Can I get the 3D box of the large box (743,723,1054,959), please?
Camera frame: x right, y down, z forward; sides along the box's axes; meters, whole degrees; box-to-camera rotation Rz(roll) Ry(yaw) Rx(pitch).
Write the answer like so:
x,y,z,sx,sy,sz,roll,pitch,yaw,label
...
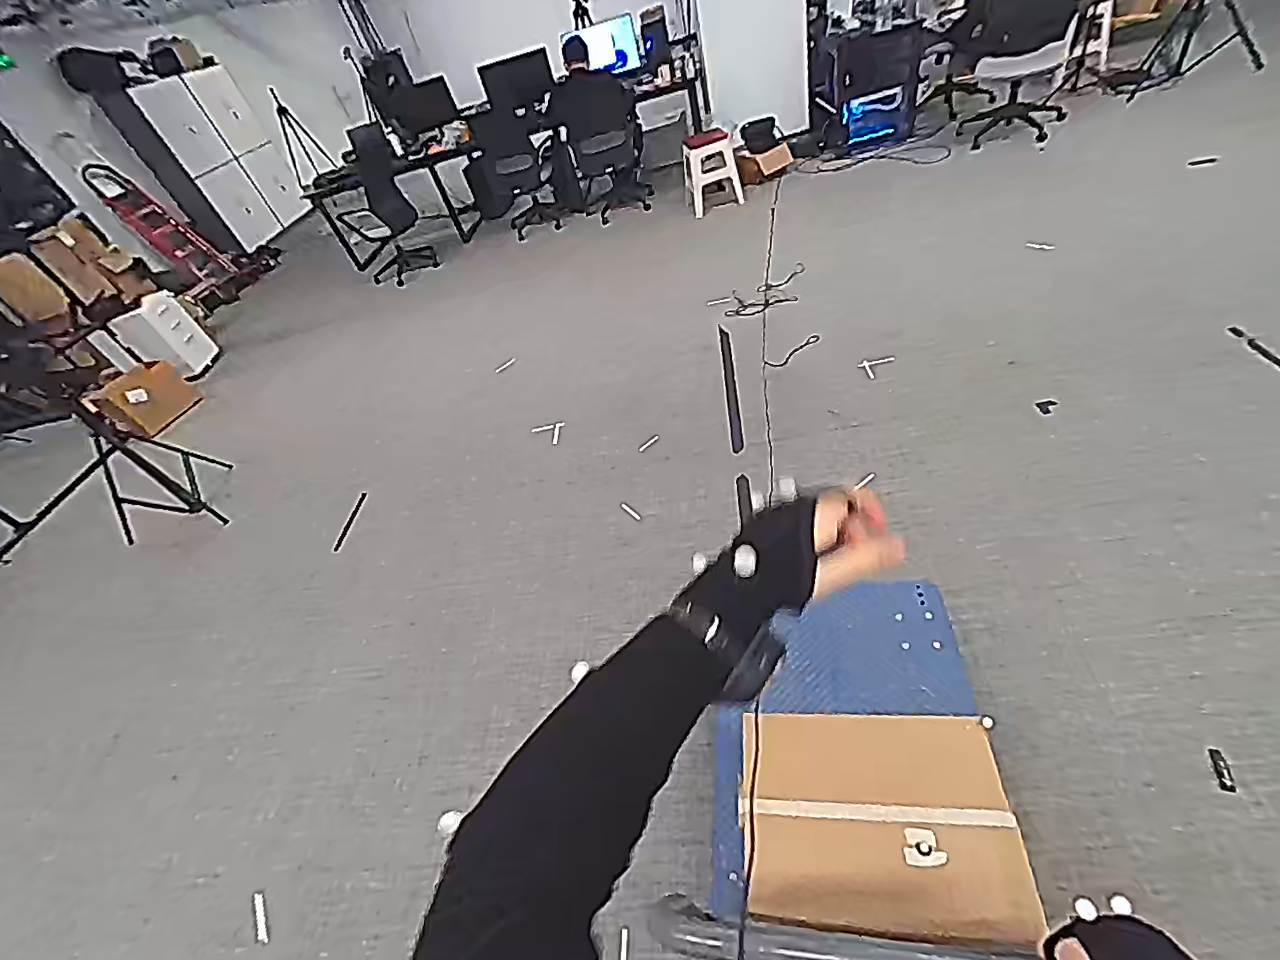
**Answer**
x,y,z,sx,sy,sz,roll,pitch,yaw,label
0.401,0.648,0.954,0.408,0.320,0.320,-5,45,15,large box
